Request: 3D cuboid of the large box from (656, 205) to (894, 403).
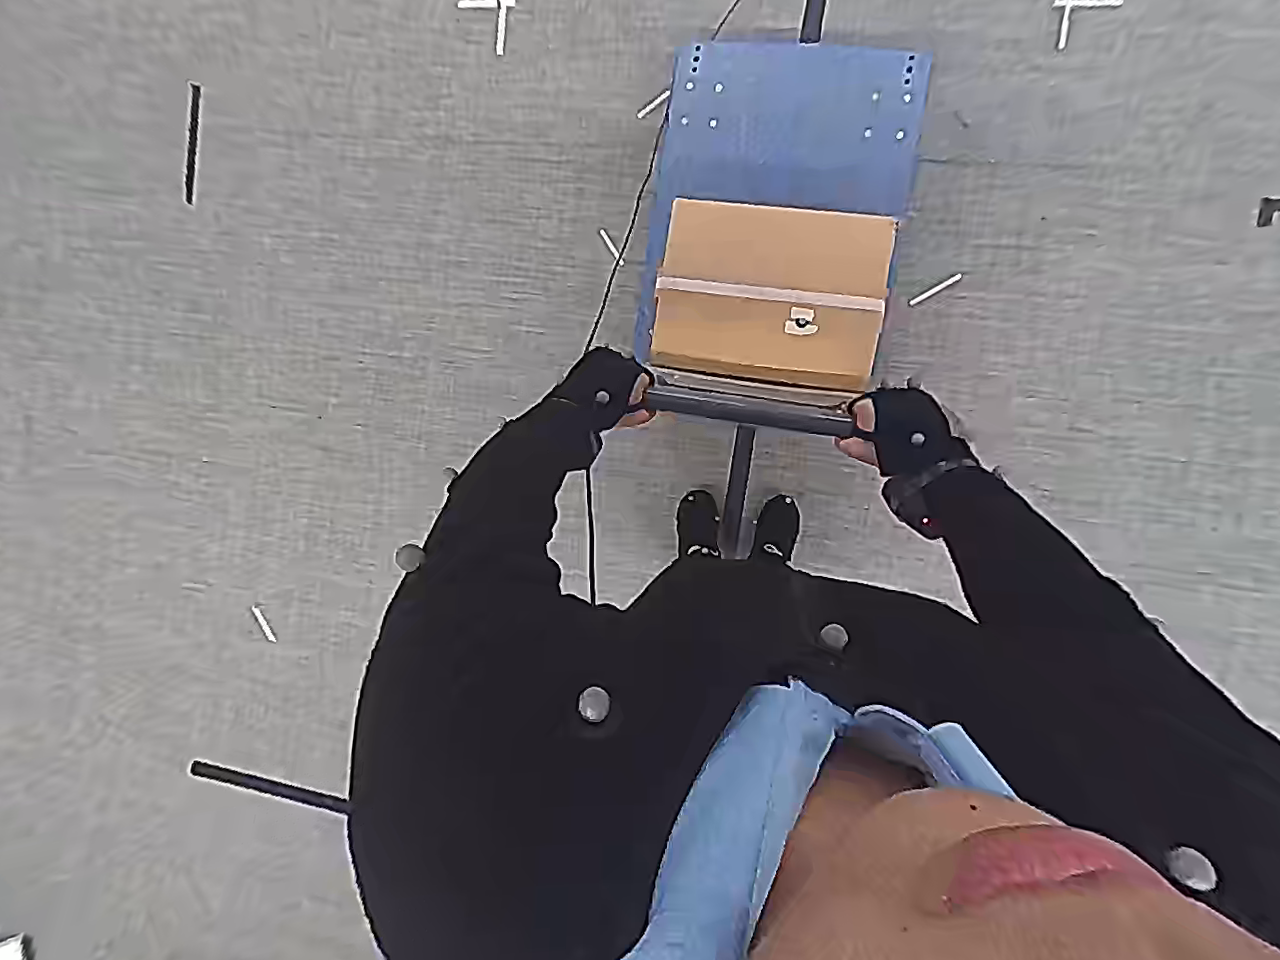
[{"bbox_3d":[0.263,-0.351,1.153,0.408,0.320,0.320,9,95,8],"label":"large box"}]
